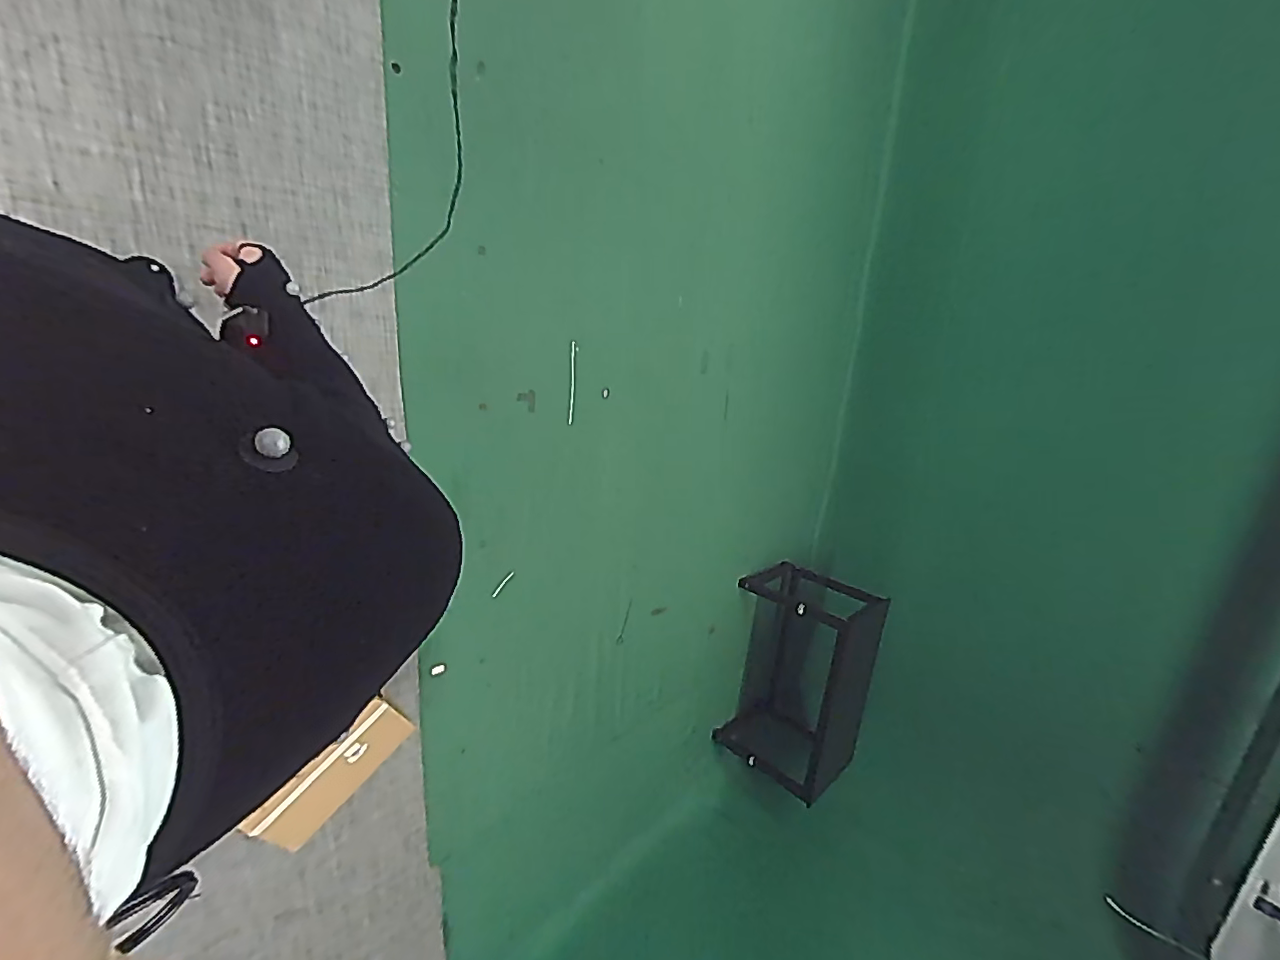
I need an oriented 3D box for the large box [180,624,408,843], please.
[{"bbox_3d":[-0.966,0.699,1.531,0.408,0.320,0.320,-47,134,-27],"label":"large box"}]
